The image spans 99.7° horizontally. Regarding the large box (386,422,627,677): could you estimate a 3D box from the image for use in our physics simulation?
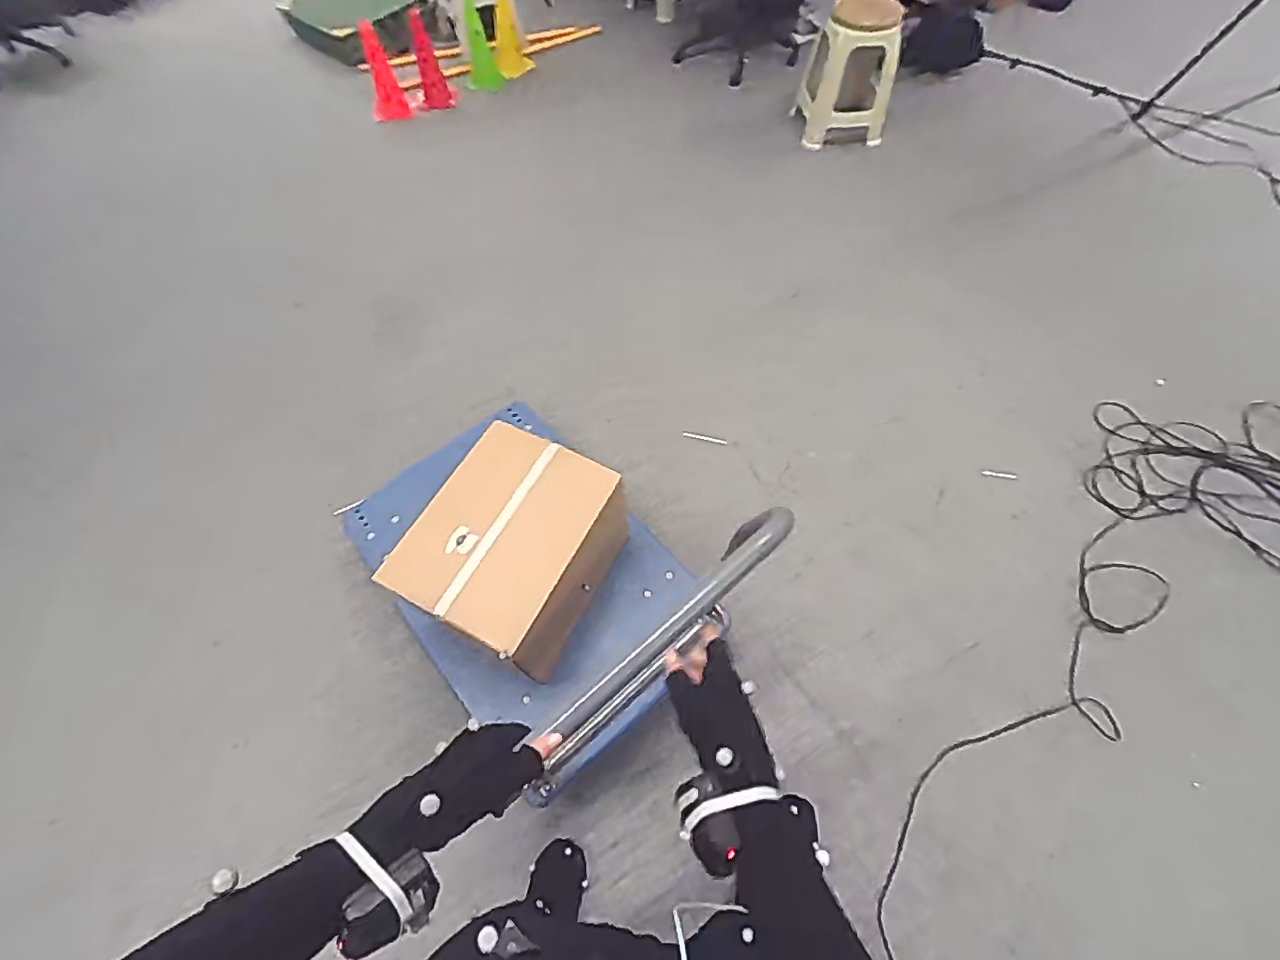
[{"bbox_3d":[-0.249,0.156,1.179,0.320,0.320,0.408,24,65,14],"label":"large box"}]
